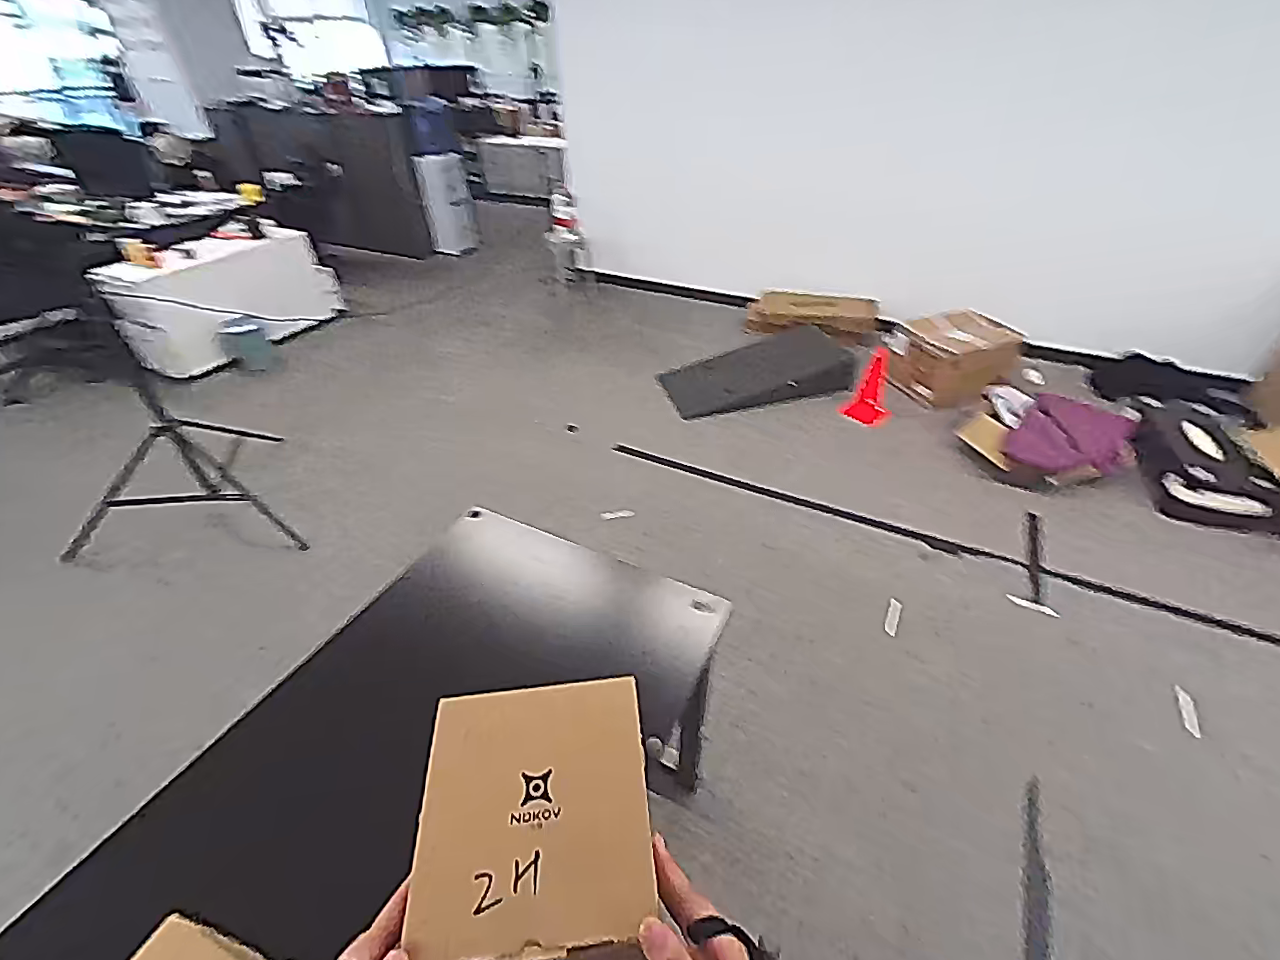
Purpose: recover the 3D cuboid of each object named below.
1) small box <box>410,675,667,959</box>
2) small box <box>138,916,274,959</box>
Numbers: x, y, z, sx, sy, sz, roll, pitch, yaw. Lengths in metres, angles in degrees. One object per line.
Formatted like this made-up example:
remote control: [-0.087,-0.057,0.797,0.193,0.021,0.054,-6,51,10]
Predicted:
small box: [-0.069,0.293,0.457,0.168,0.176,0.179,-6,43,-2]
small box: [-0.393,0.545,0.487,0.179,0.176,0.168,14,41,18]
